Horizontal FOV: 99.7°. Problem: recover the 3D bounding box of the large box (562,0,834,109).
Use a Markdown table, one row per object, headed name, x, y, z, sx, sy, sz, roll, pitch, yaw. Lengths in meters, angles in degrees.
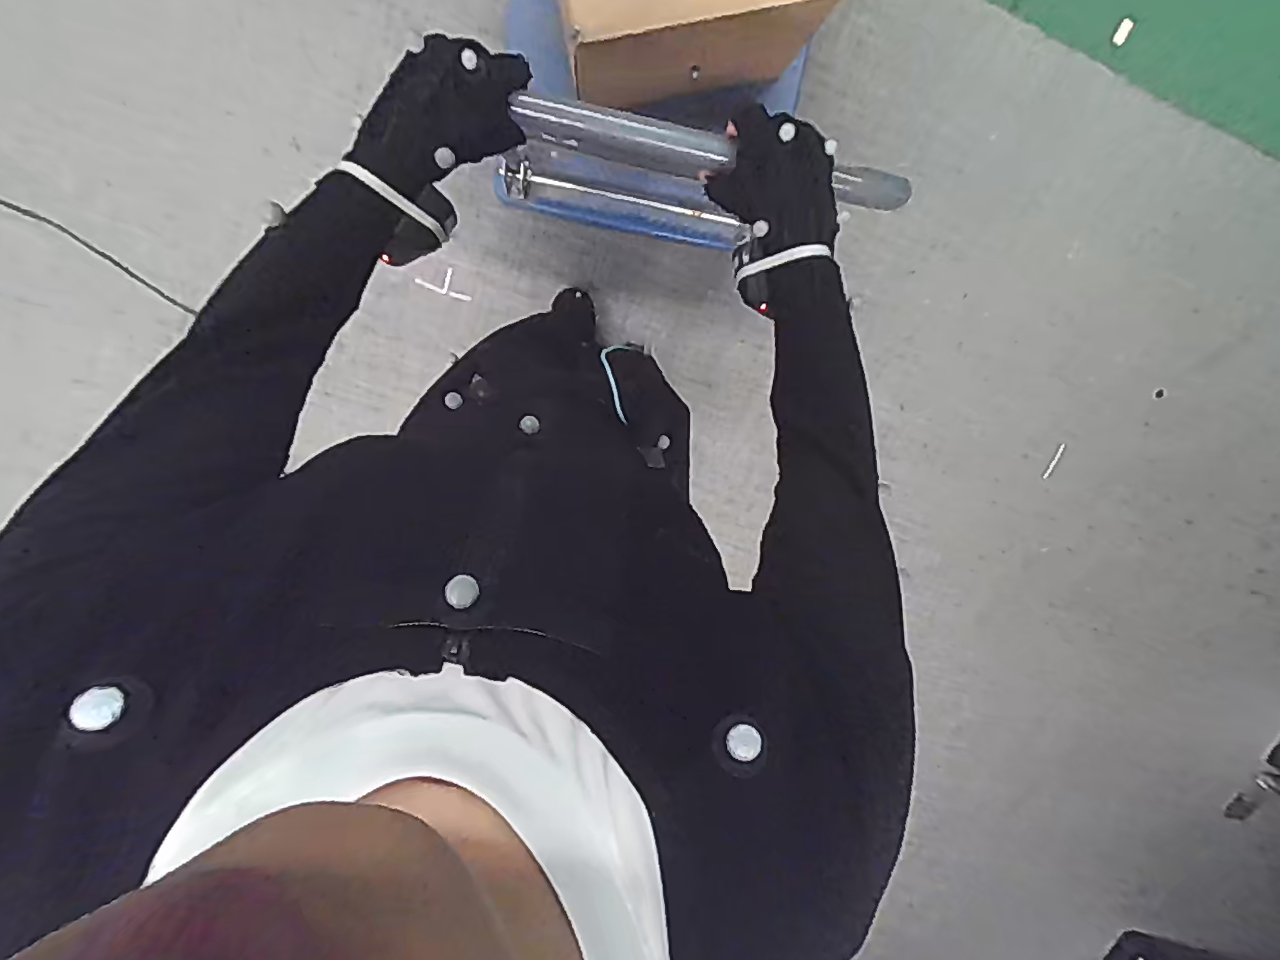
| name | x | y | z | sx | sy | sz | roll | pitch | yaw |
| --- | --- | --- | --- | --- | --- | --- | --- | --- | --- |
| large box | 0.066 | -0.859 | 0.877 | 0.408 | 0.320 | 0.320 | -11 | 108 | 0 |
